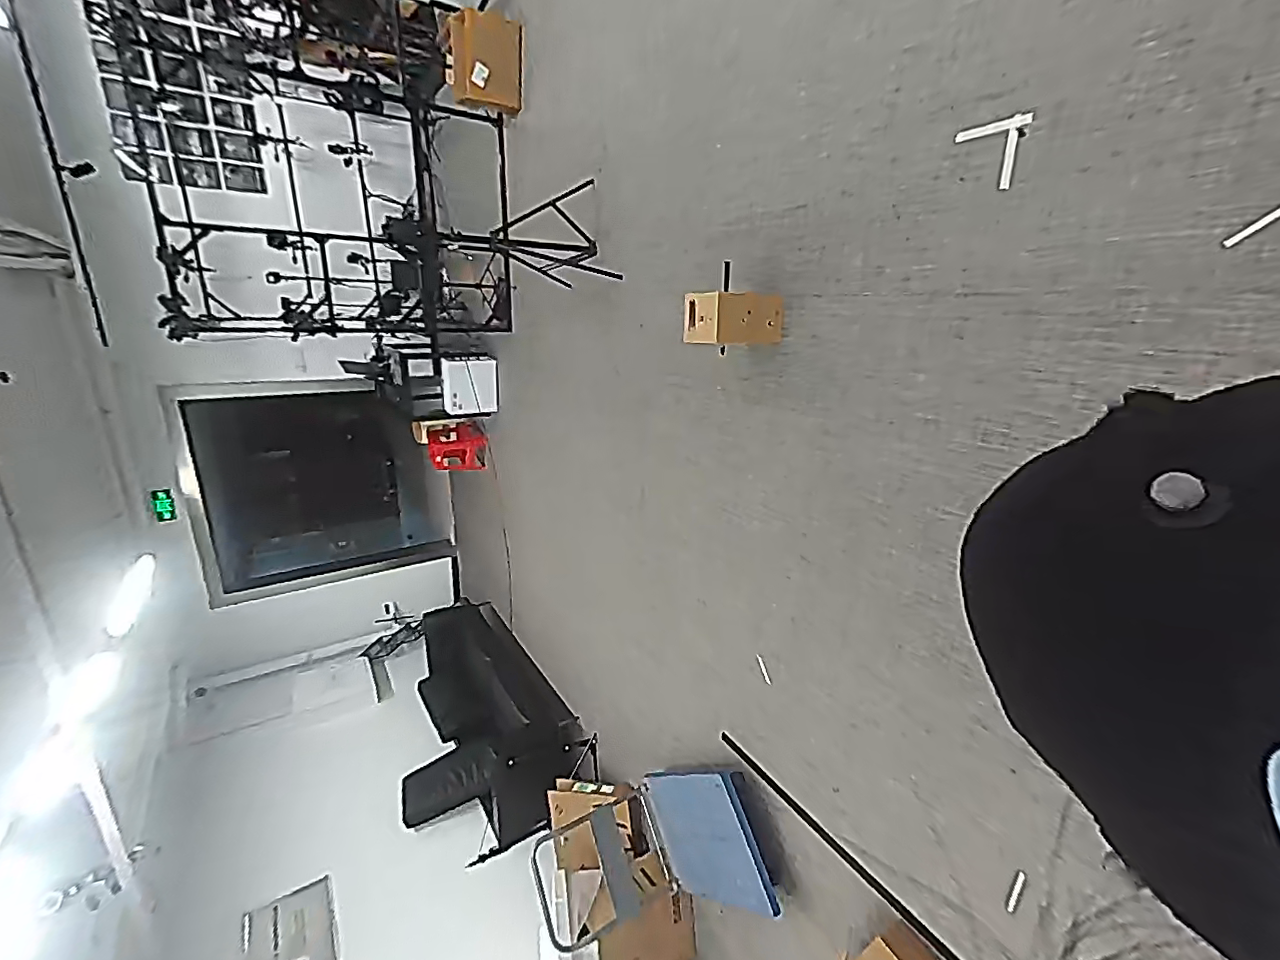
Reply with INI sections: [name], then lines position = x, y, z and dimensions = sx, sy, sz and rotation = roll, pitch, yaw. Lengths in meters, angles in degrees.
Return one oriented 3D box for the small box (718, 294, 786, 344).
[small box]
position = 0.406, -0.583, 1.976
dimensions = 0.179, 0.176, 0.168
rotation = 18, 114, 55
